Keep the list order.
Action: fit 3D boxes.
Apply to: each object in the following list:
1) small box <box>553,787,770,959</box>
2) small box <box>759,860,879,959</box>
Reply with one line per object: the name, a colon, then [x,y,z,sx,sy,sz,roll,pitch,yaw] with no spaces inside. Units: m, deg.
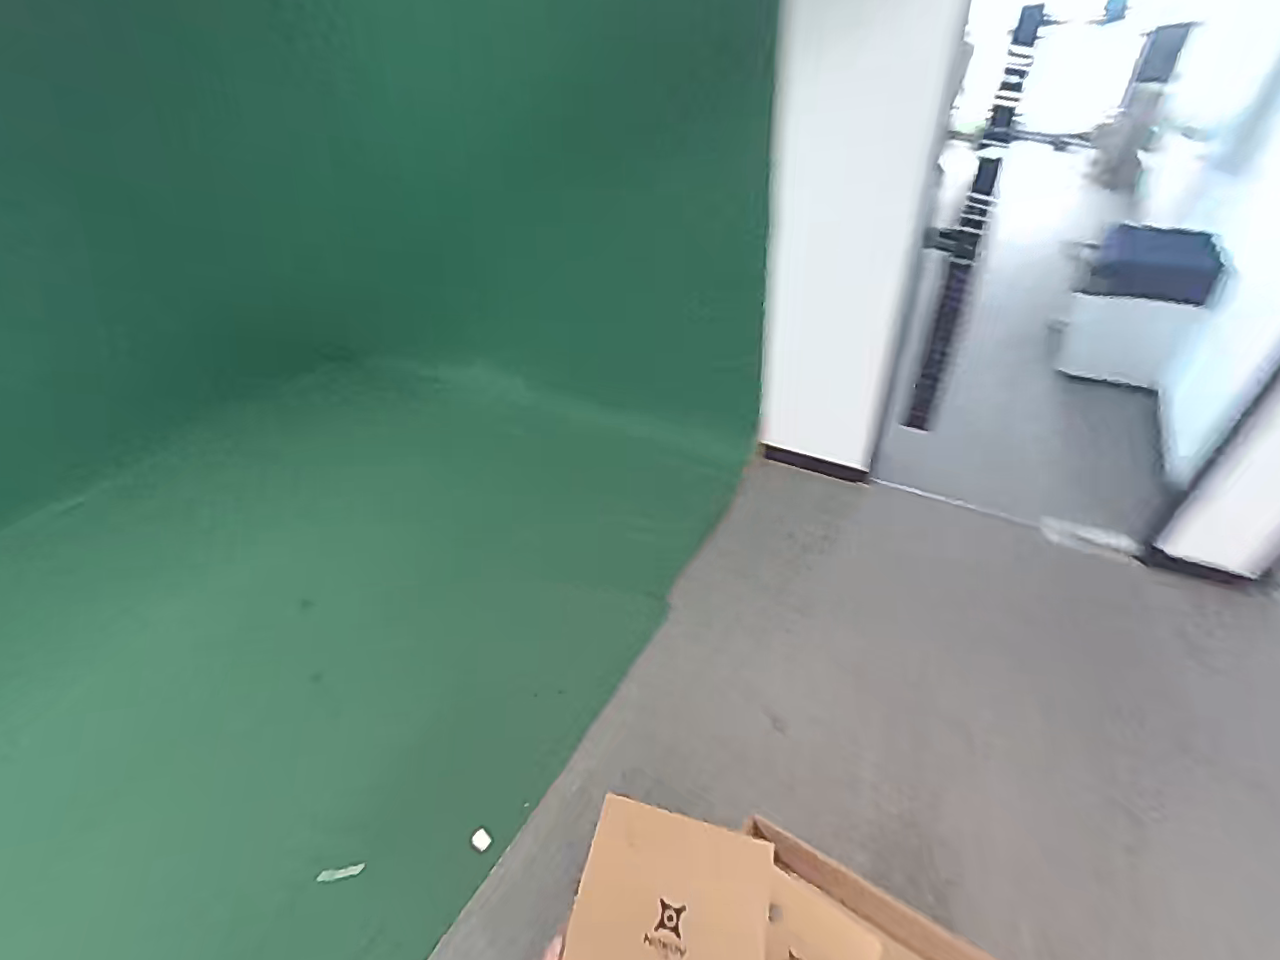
small box: [0.019,0.433,0.518,0.168,0.176,0.179,11,48,11]
small box: [0.190,0.659,0.713,0.168,0.176,0.179,22,48,30]
